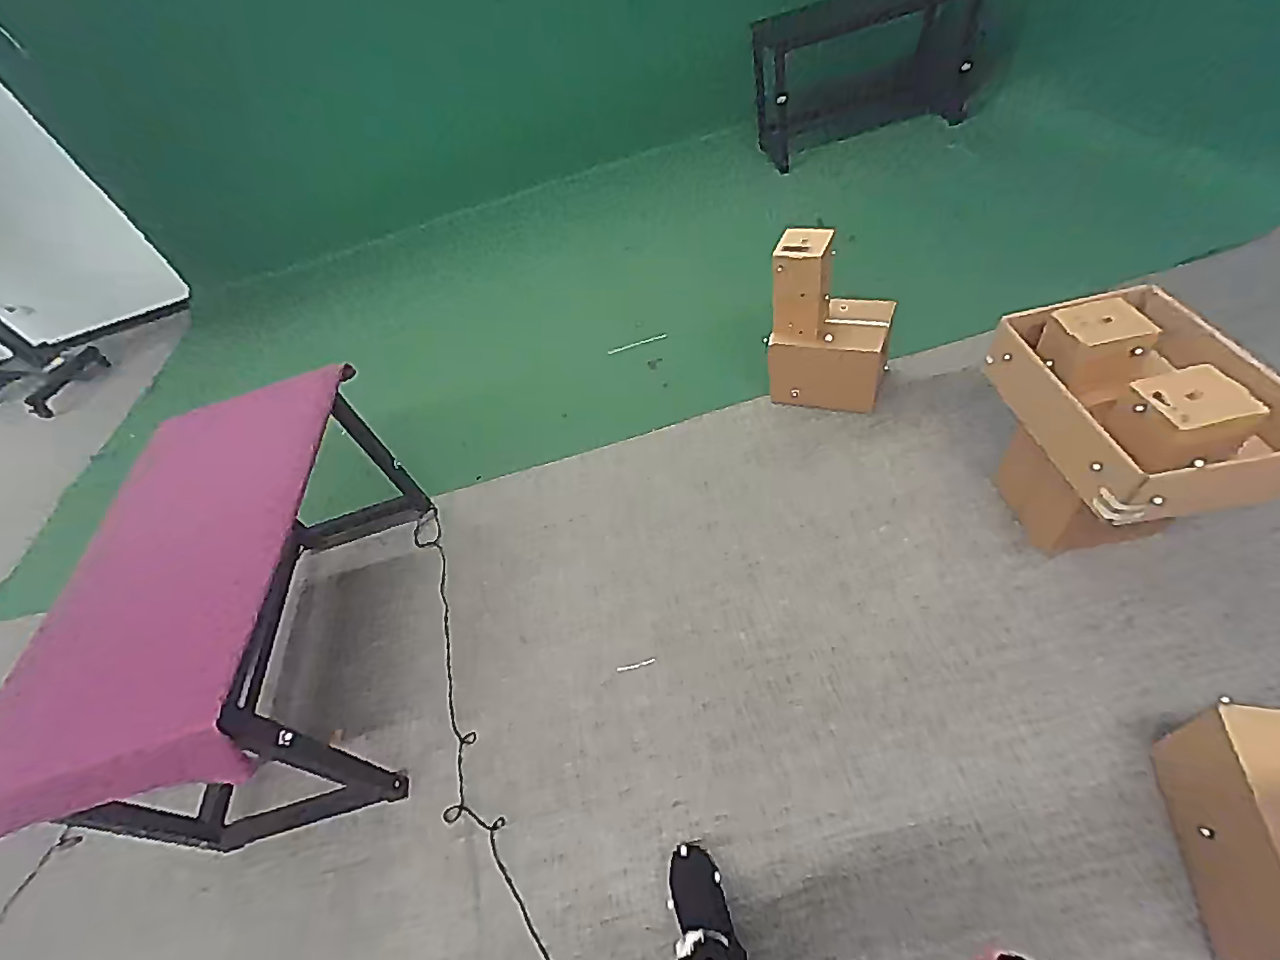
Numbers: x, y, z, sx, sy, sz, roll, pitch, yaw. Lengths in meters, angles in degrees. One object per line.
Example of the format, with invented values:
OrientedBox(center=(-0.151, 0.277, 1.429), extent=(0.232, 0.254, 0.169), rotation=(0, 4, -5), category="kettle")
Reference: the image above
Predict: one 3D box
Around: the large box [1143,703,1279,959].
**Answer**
OrientedBox(center=(1.260, 0.691, 1.011), extent=(0.320, 0.320, 0.408), rotation=(2, 51, 17), category="large box")

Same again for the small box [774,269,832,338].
OrientedBox(center=(0.605, -0.660, 2.016), extent=(0.168, 0.176, 0.179), rotation=(15, 58, 25), category="small box")
